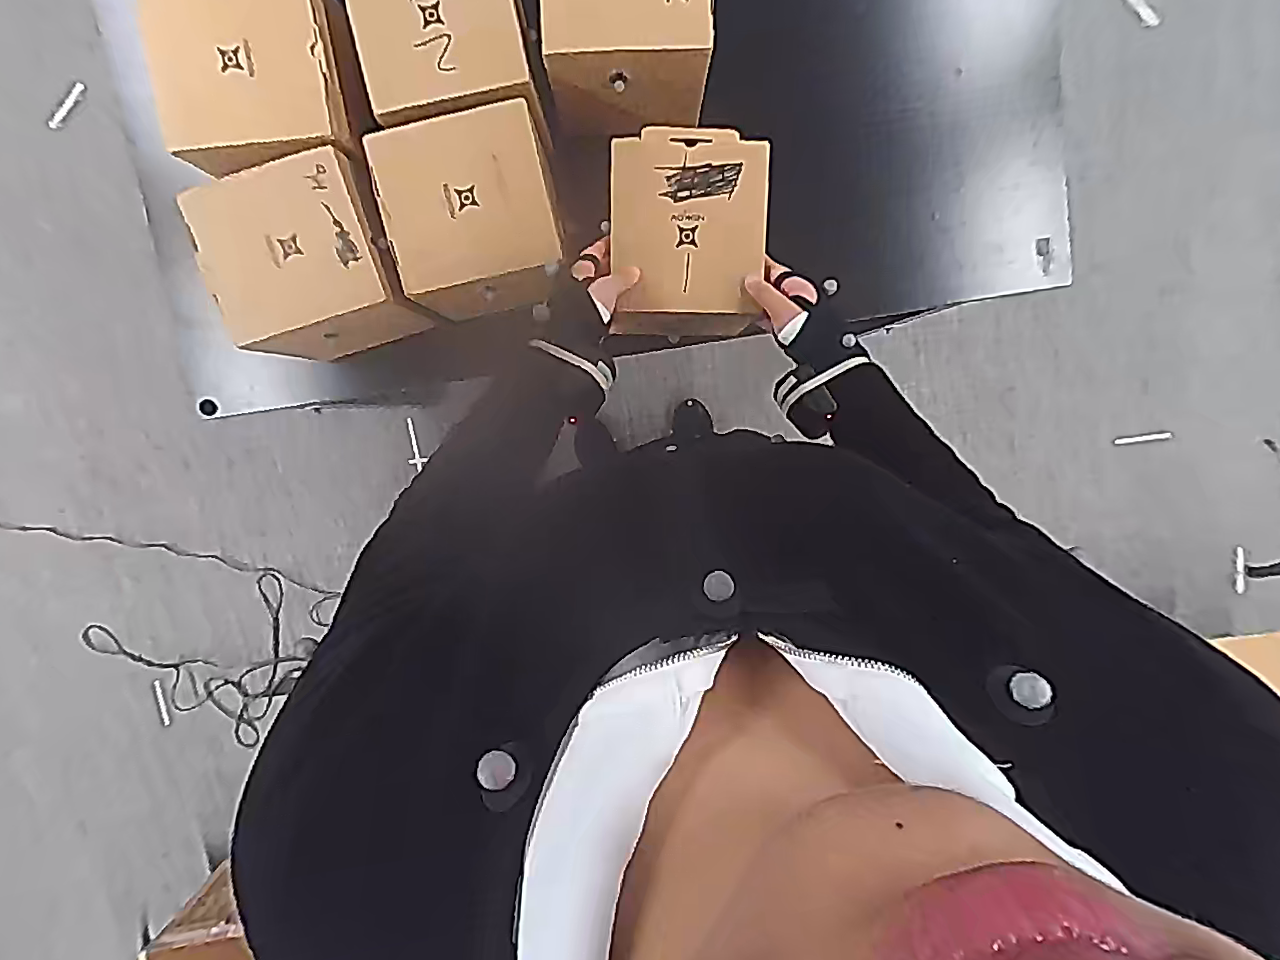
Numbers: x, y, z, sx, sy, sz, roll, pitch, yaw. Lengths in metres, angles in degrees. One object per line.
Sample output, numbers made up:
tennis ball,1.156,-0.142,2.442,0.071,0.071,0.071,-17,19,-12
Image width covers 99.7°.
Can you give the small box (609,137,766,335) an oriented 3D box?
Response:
small box,0.048,-0.280,0.654,0.168,0.176,0.179,1,97,0
